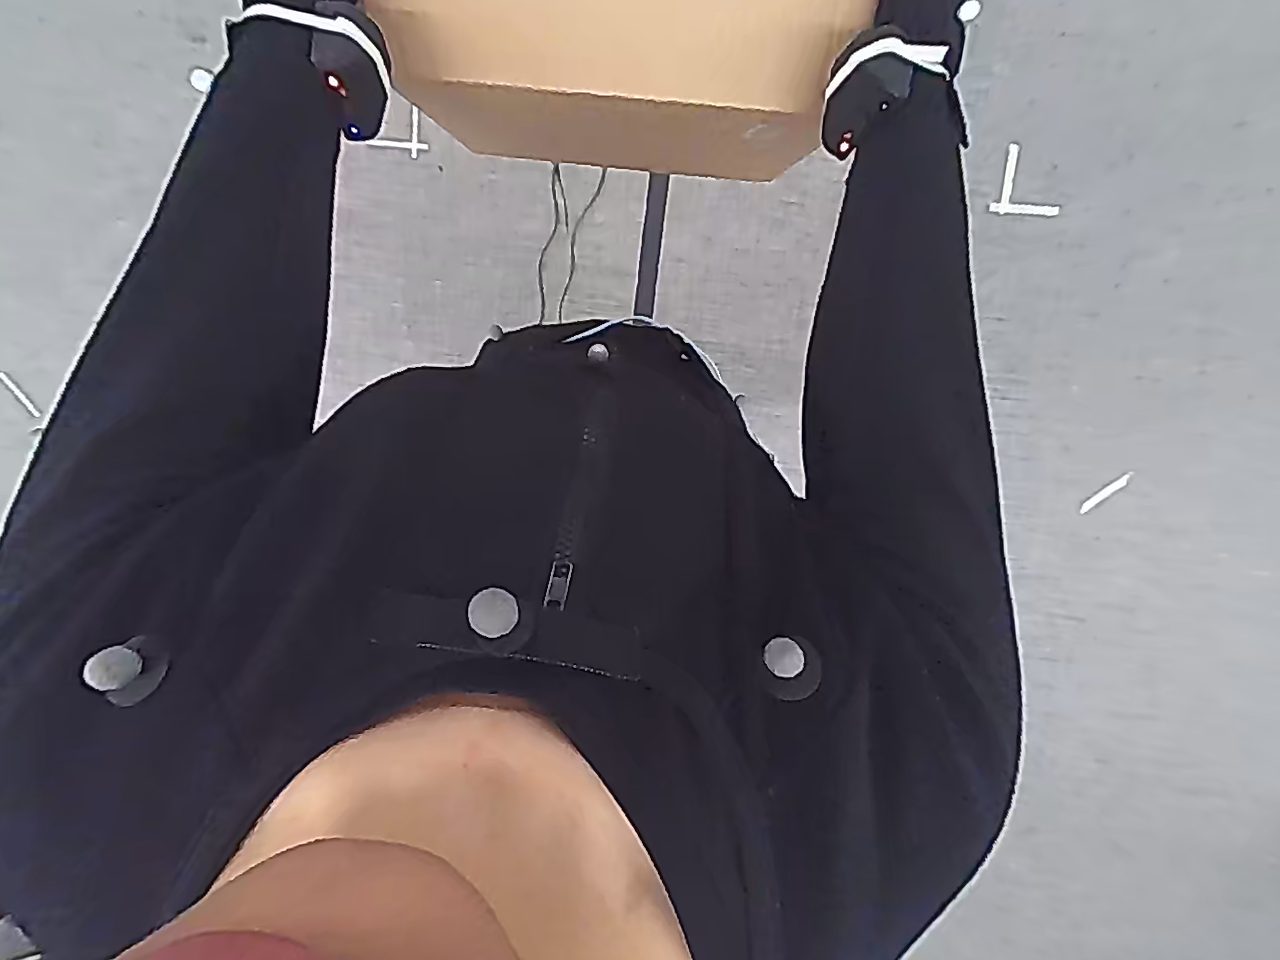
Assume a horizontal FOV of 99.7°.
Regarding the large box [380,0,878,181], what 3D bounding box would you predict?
[{"bbox_3d":[-0.007,-0.509,0.541,0.408,0.320,0.320,3,110,-3],"label":"large box"}]
